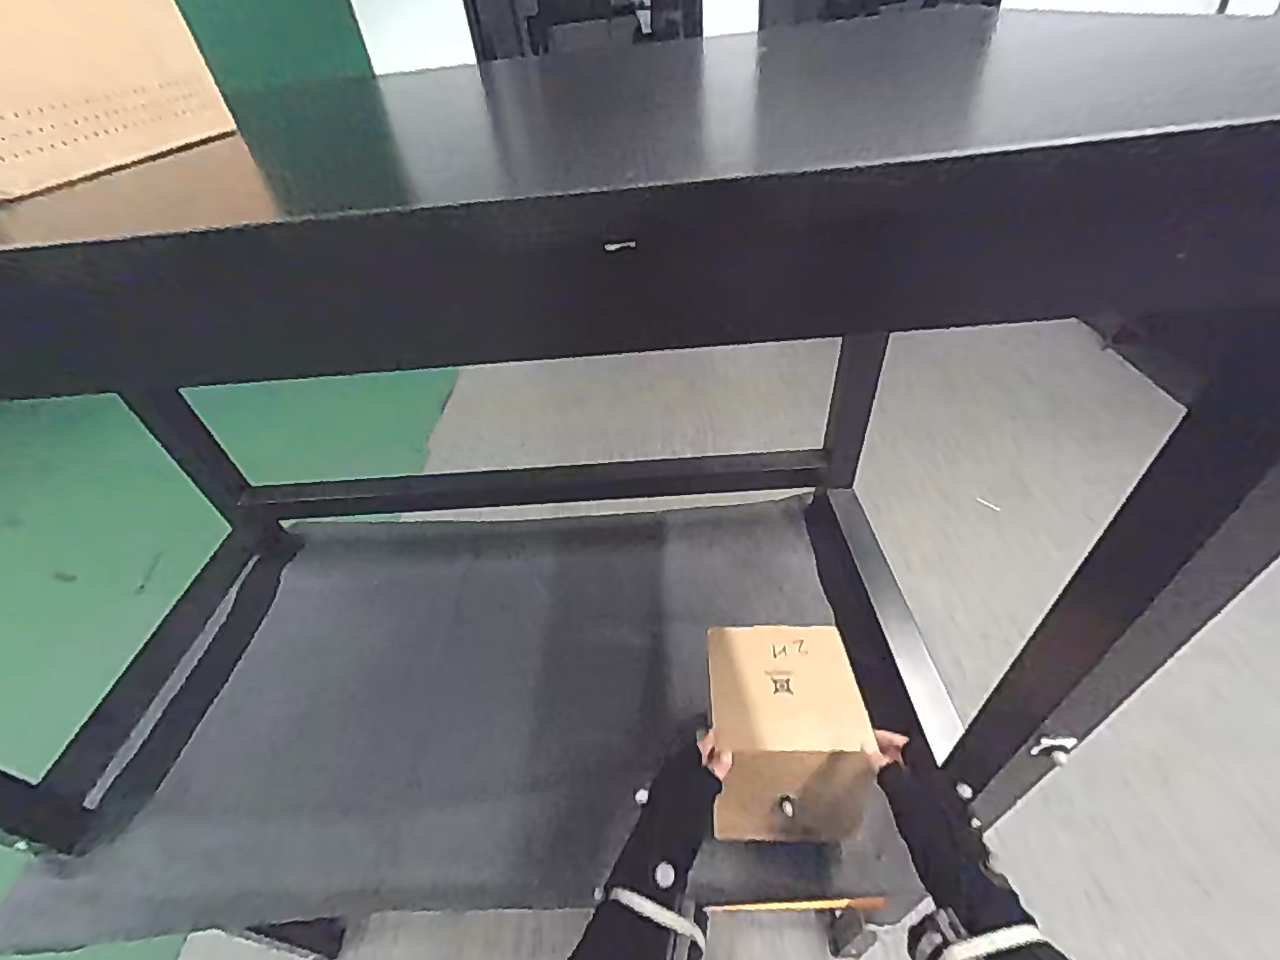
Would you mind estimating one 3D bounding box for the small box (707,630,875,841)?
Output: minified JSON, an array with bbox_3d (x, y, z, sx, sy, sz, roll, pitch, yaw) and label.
[{"bbox_3d":[0.168,0.306,0.658,0.168,0.176,0.179,-1,29,5],"label":"small box"}]
